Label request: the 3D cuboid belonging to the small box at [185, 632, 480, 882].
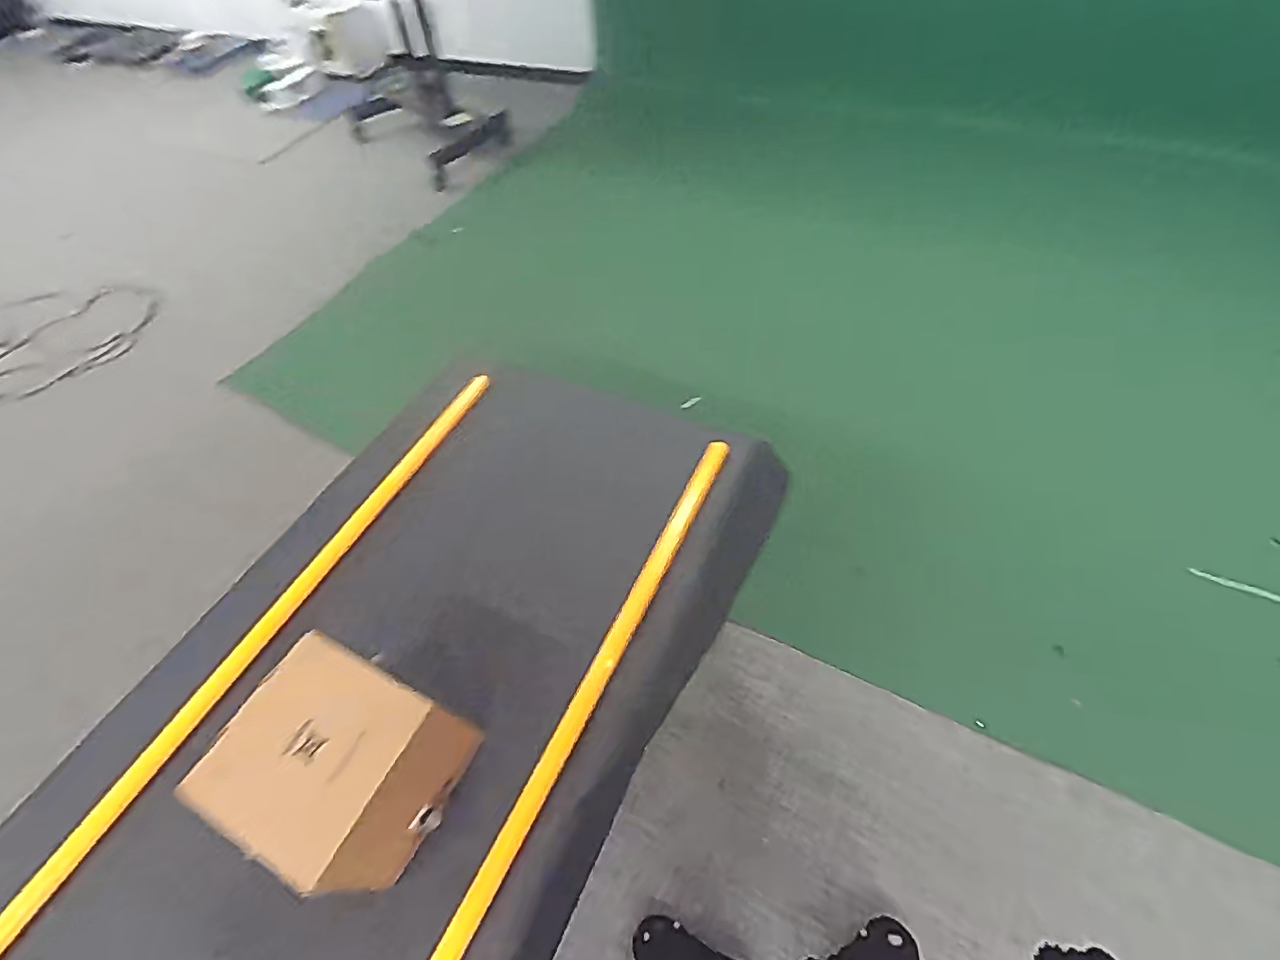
[{"bbox_3d":[-0.305,0.294,0.578,0.179,0.176,0.168,19,60,17],"label":"small box"}]
